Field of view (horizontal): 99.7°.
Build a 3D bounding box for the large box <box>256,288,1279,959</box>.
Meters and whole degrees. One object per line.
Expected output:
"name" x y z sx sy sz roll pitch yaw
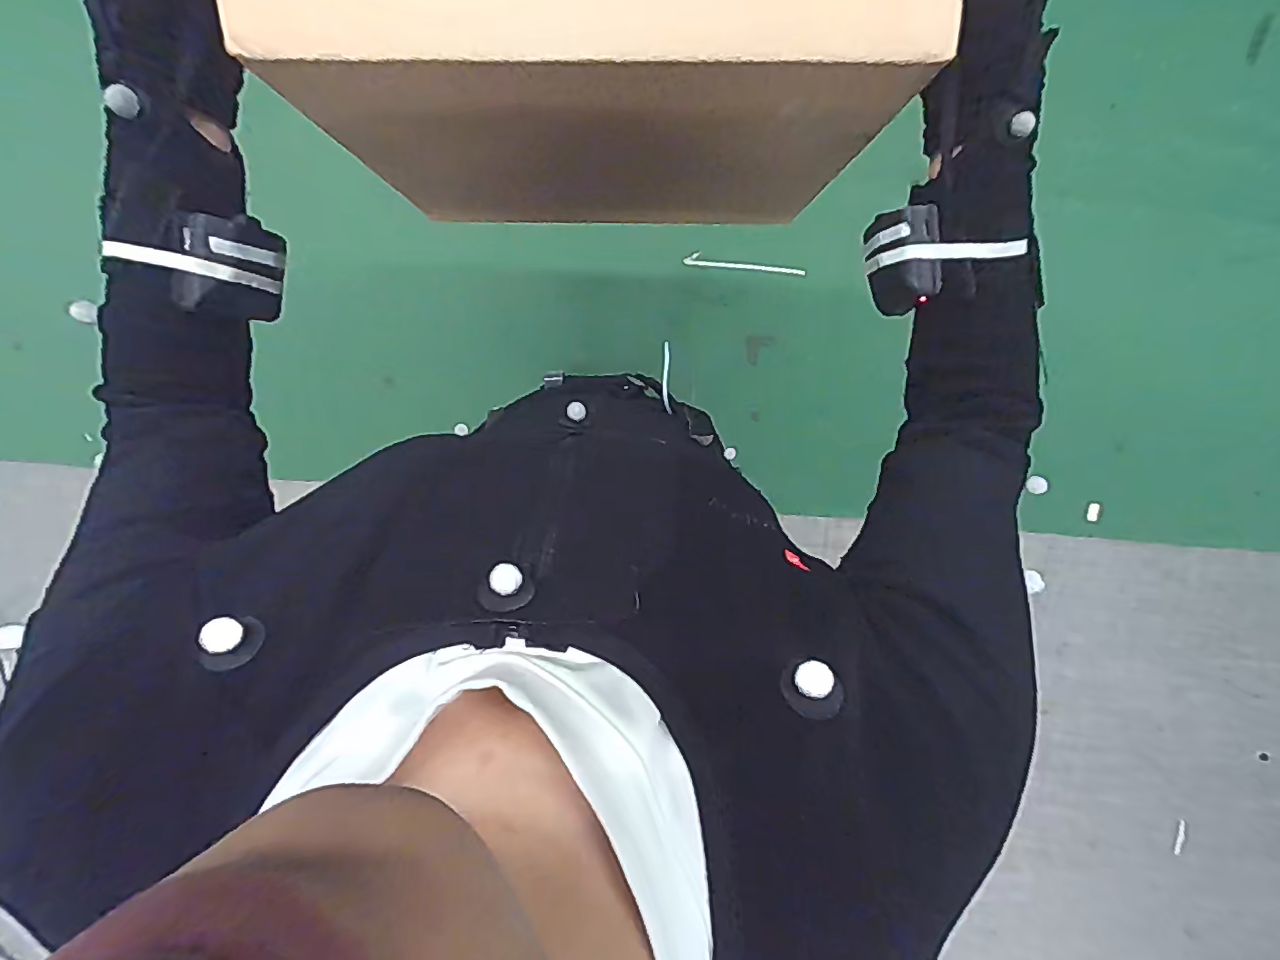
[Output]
"large box" 0.112 0.151 0.329 0.320 0.320 0.408 19 66 29
